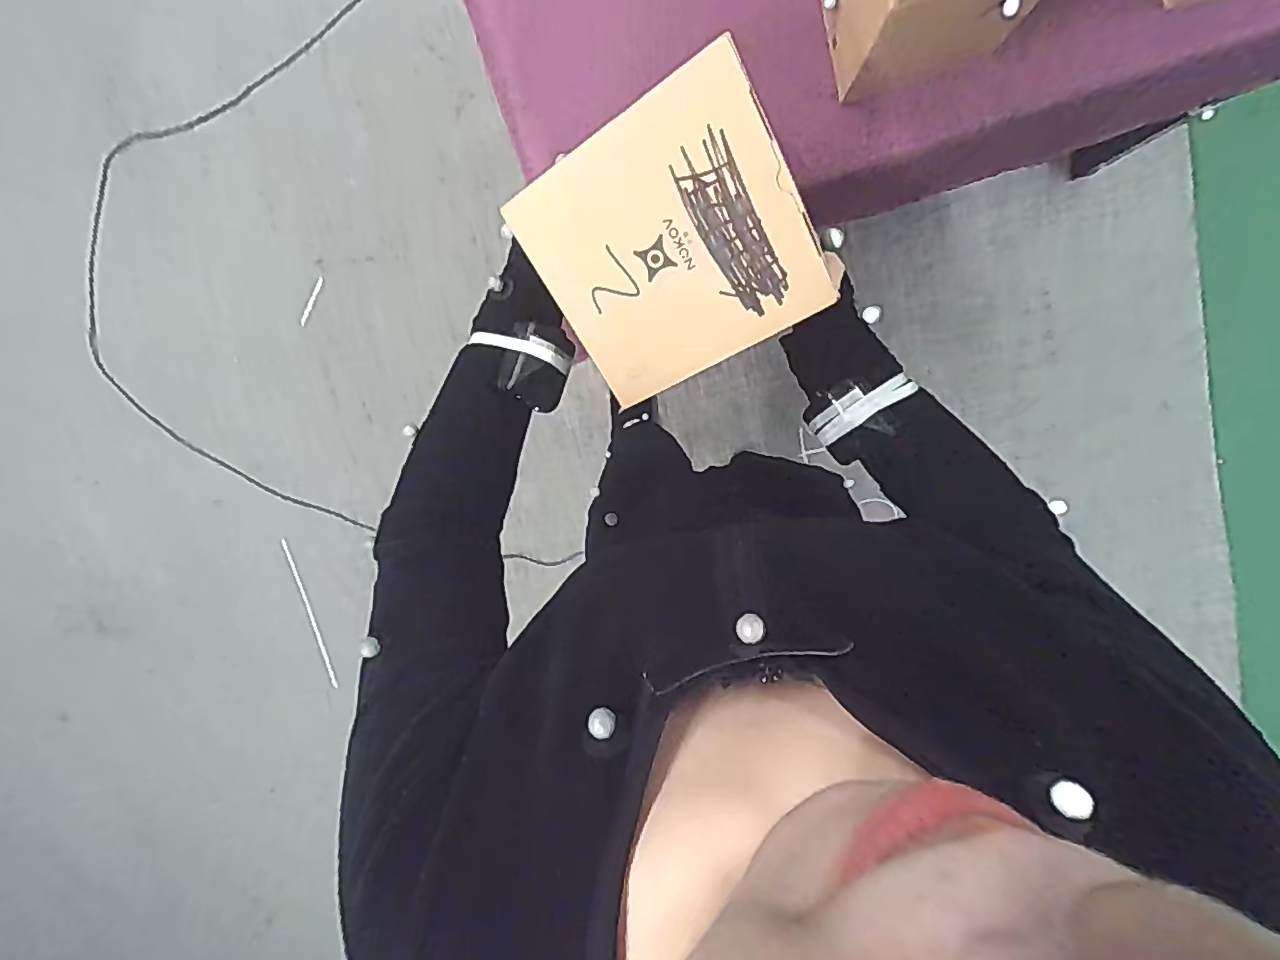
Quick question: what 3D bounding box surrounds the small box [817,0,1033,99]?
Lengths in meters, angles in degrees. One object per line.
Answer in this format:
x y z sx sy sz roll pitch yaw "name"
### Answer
0.297 -0.542 0.558 0.179 0.176 0.168 -13 97 6 "small box"
